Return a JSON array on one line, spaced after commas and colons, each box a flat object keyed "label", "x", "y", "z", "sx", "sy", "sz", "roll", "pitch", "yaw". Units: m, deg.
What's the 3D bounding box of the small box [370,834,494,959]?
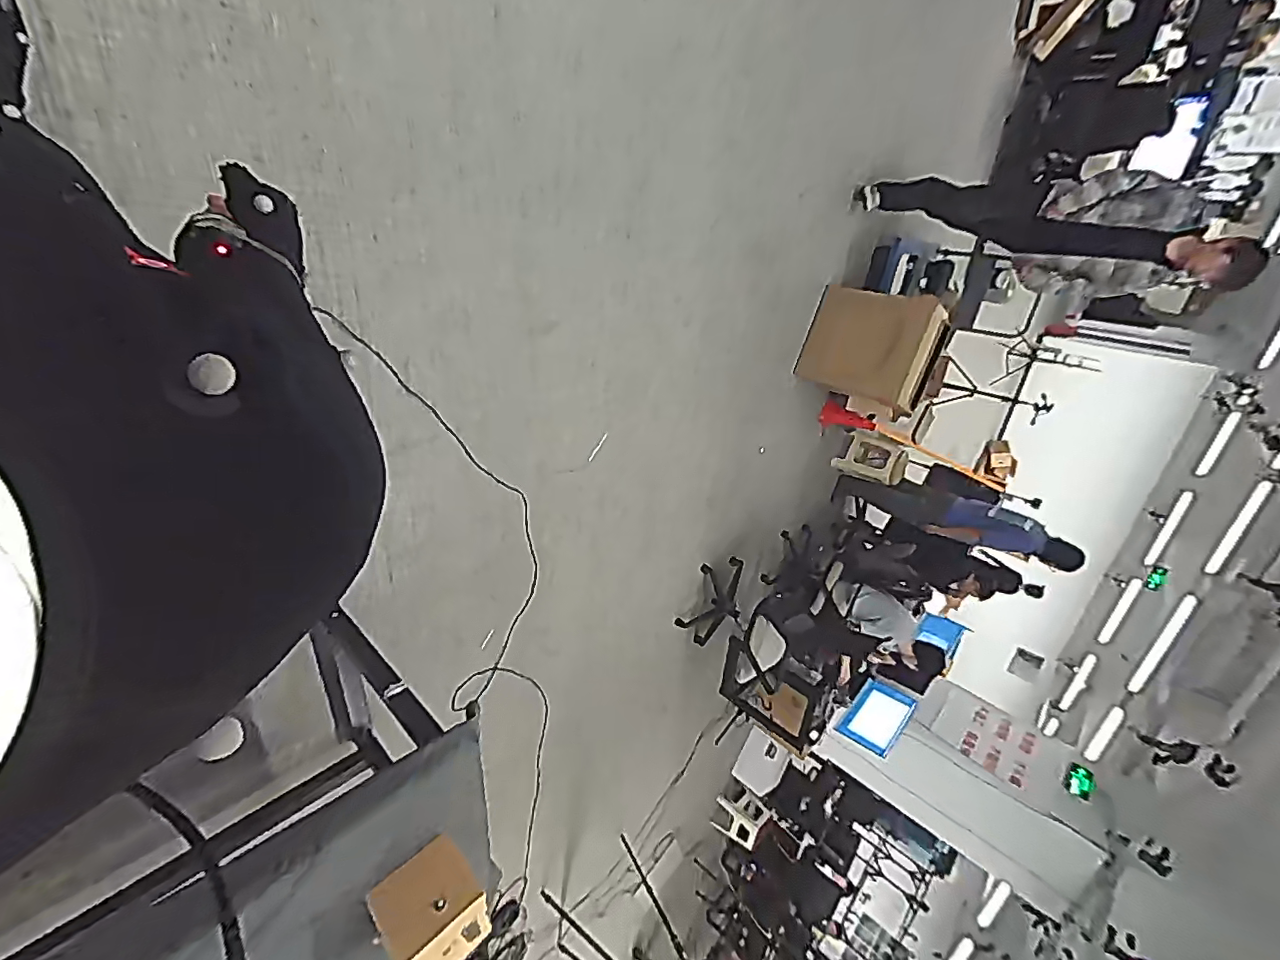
[{"label": "small box", "x": -0.431, "y": 0.899, "z": 1.131, "sx": 0.179, "sy": 0.176, "sz": 0.168, "roll": -25, "pitch": 128, "yaw": -40}]
